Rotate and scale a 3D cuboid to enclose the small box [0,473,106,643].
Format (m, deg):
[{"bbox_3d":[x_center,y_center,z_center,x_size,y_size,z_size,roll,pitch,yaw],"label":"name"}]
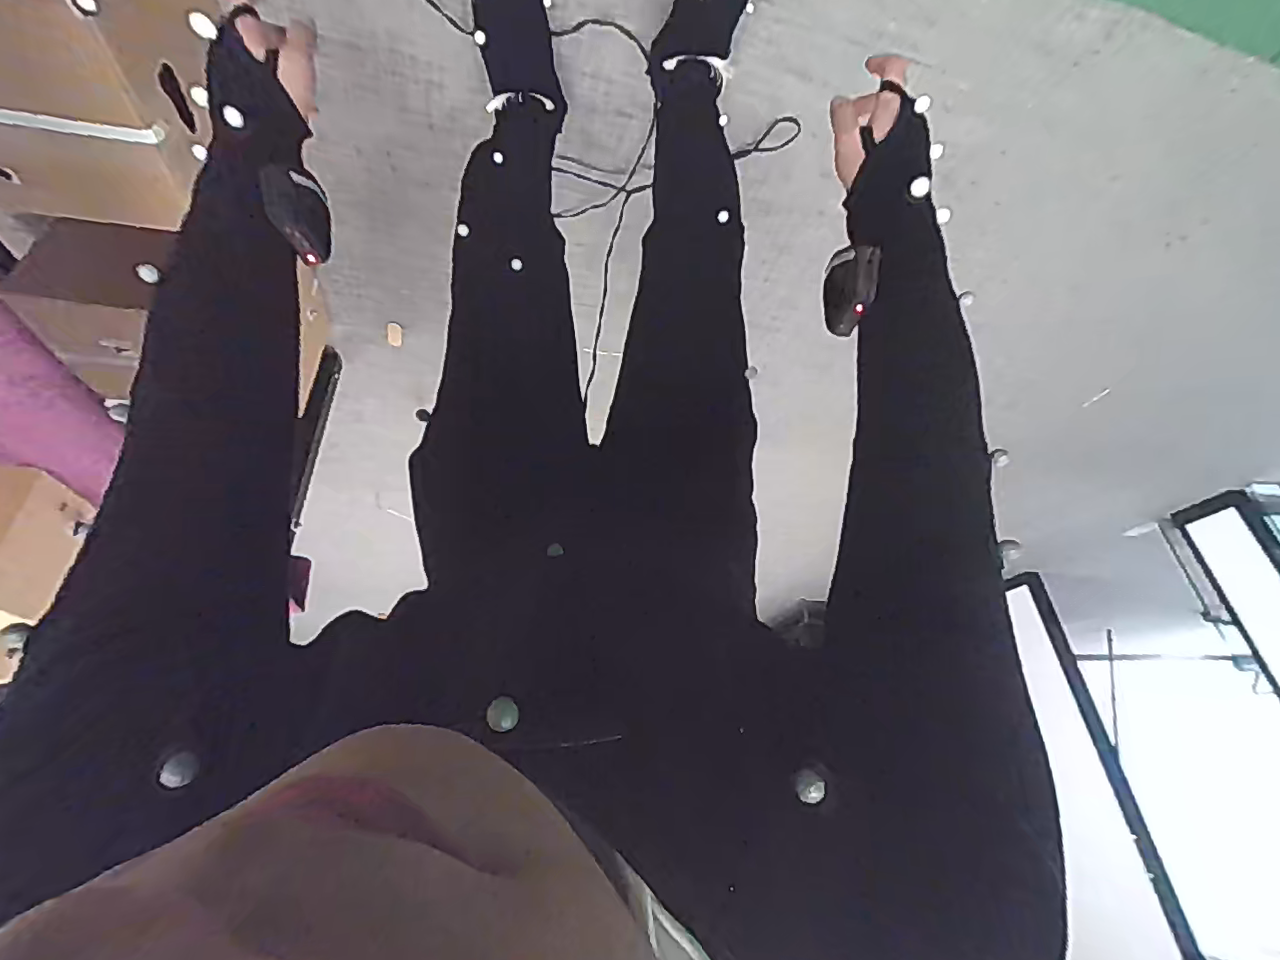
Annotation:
[{"bbox_3d":[-0.830,0.092,0.661,0.179,0.176,0.168,6,150,-14],"label":"small box"}]

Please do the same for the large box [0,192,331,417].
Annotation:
[{"bbox_3d":[-0.967,-0.368,1.184,0.408,0.320,0.320,6,149,-12],"label":"large box"}]
